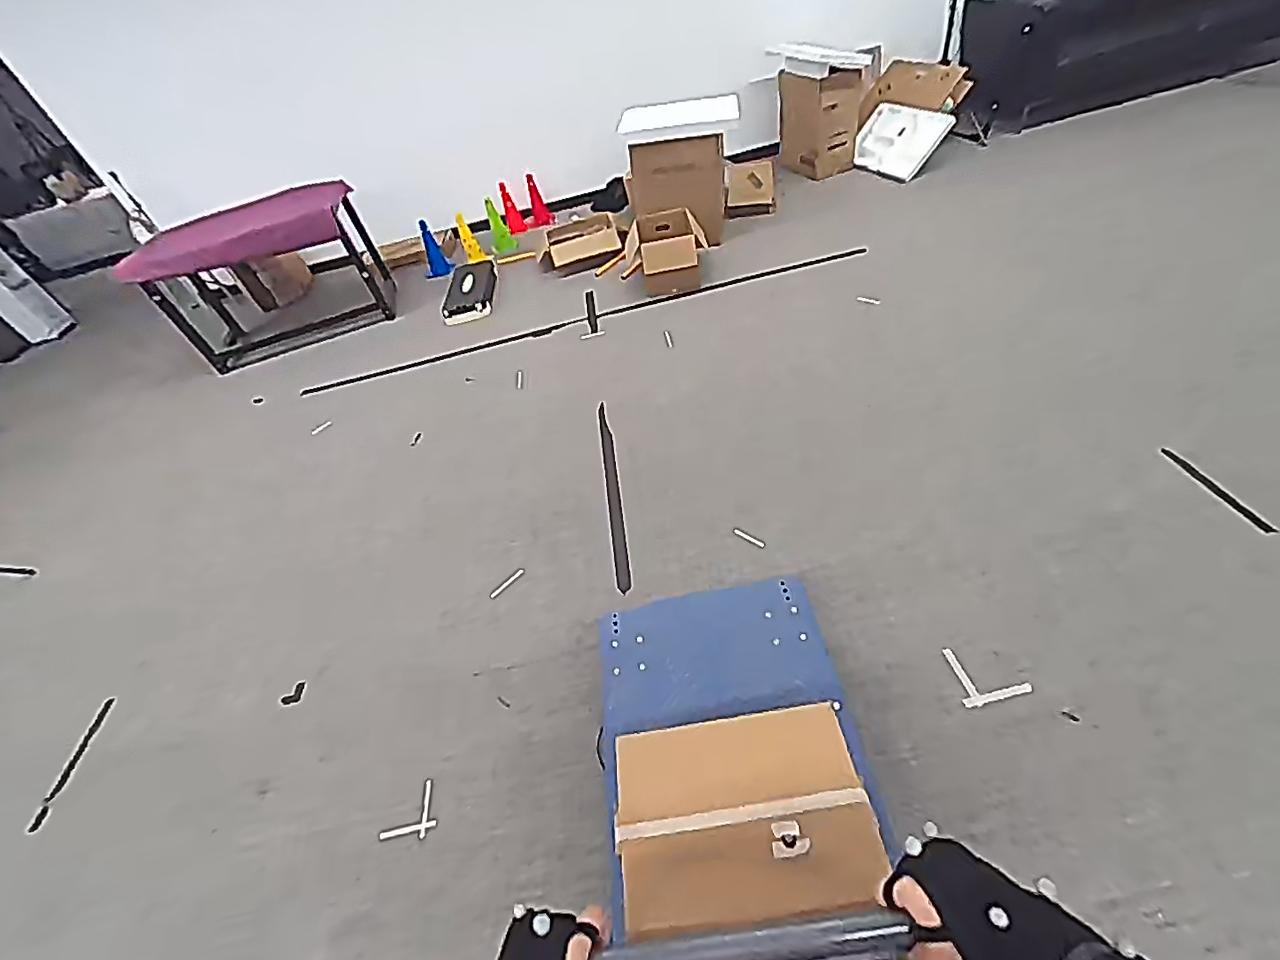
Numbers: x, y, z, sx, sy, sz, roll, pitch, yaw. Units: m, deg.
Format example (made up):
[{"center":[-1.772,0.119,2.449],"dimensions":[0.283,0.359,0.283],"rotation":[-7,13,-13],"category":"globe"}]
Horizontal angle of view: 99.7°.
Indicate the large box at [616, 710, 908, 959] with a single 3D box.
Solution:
[{"center":[0.188,0.657,0.962],"dimensions":[0.408,0.320,0.320],"rotation":[-11,43,3],"category":"large box"}]
